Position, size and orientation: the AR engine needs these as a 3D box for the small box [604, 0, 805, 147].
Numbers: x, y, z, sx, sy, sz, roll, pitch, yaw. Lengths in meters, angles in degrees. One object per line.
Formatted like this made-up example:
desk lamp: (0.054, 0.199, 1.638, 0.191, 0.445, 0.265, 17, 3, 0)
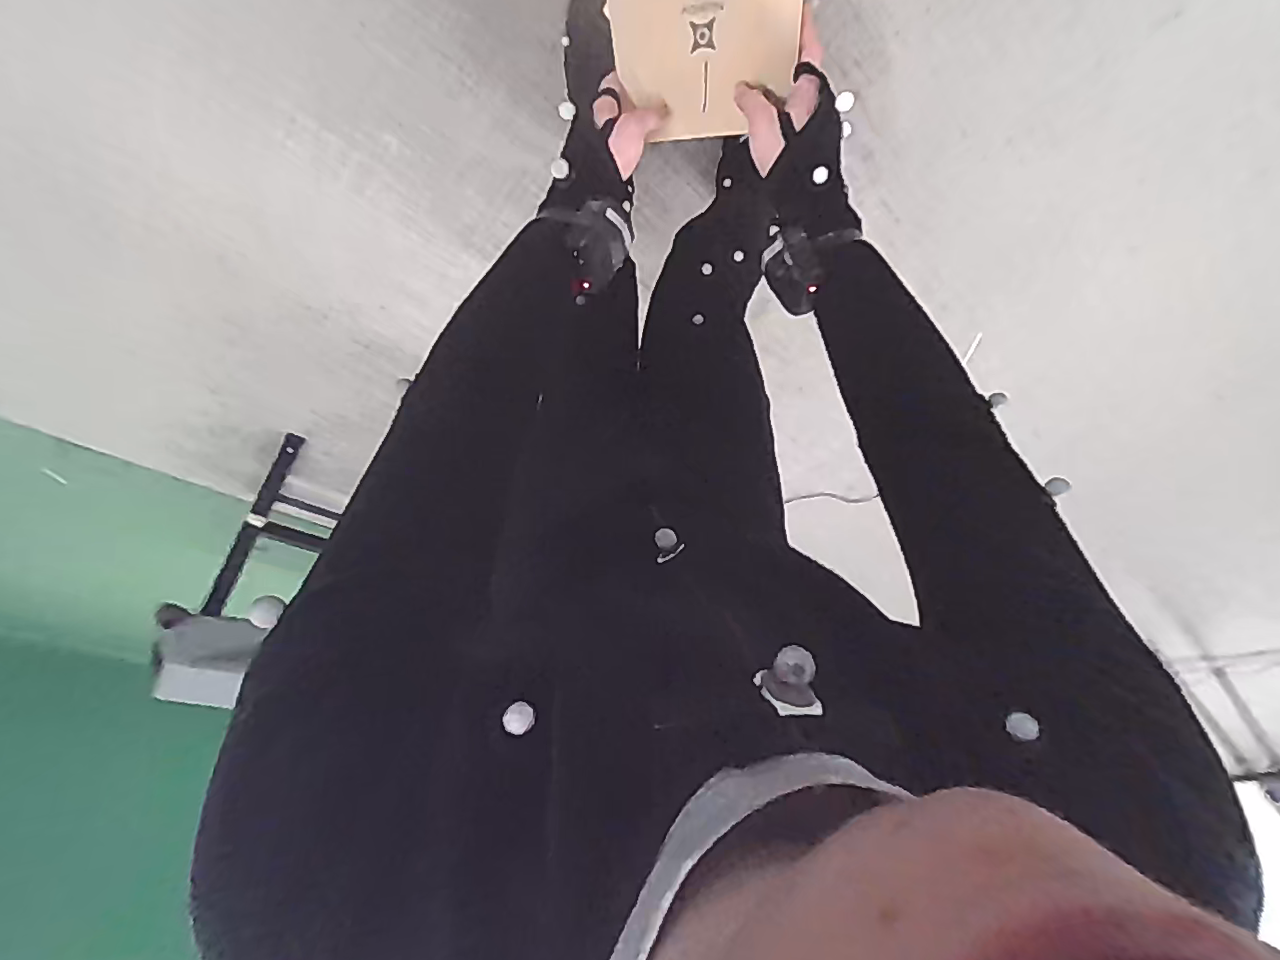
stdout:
small box: (0.065, -0.439, 0.504, 0.168, 0.176, 0.179, 3, 137, 12)
